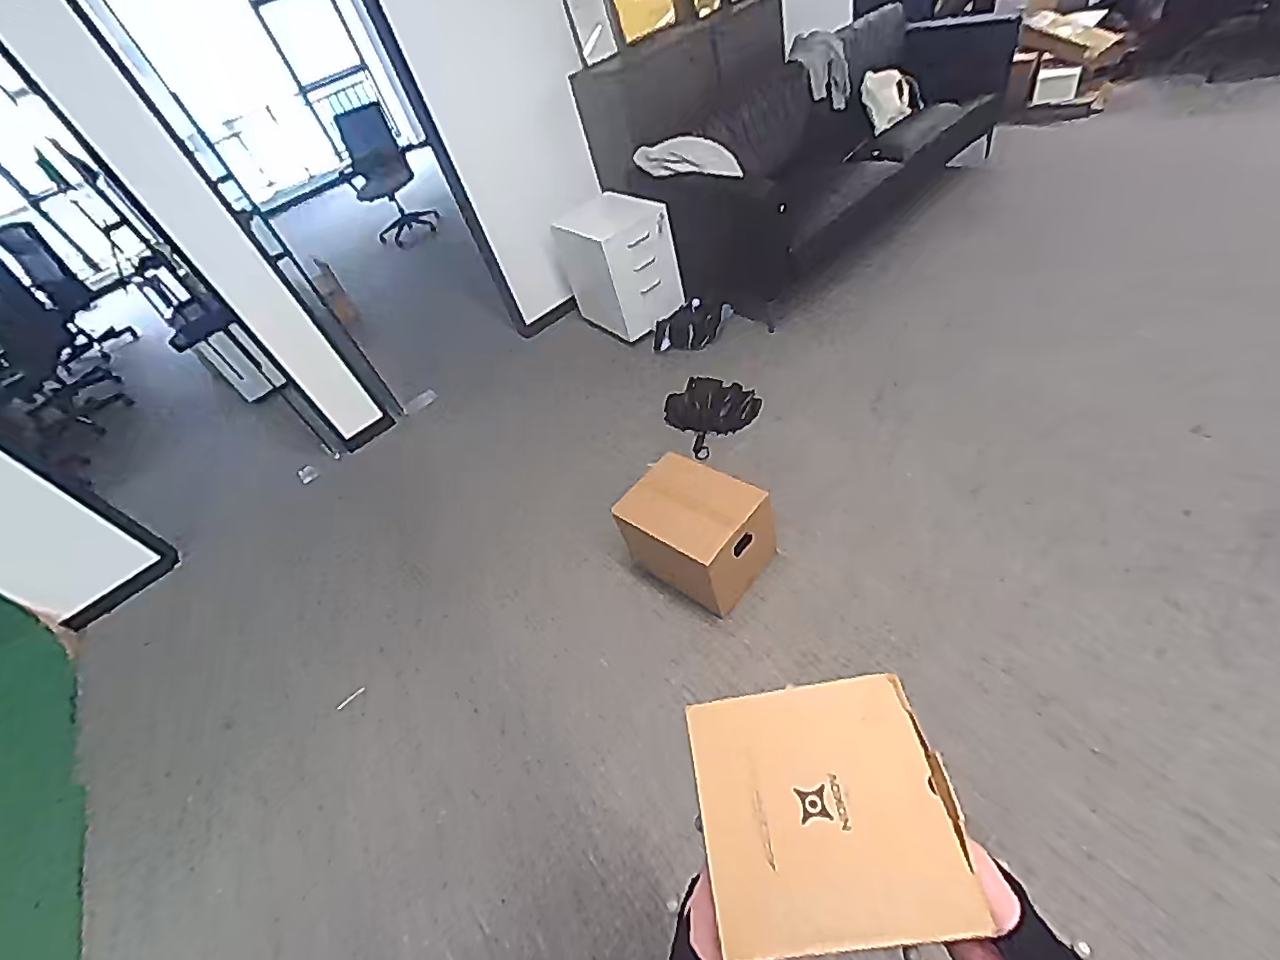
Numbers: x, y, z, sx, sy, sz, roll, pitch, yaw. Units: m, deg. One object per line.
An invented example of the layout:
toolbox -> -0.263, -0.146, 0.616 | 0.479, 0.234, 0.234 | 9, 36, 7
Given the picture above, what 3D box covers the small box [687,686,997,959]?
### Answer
small box -> 0.147, 0.292, 0.452 | 0.179, 0.176, 0.168 | -13, 50, 6
